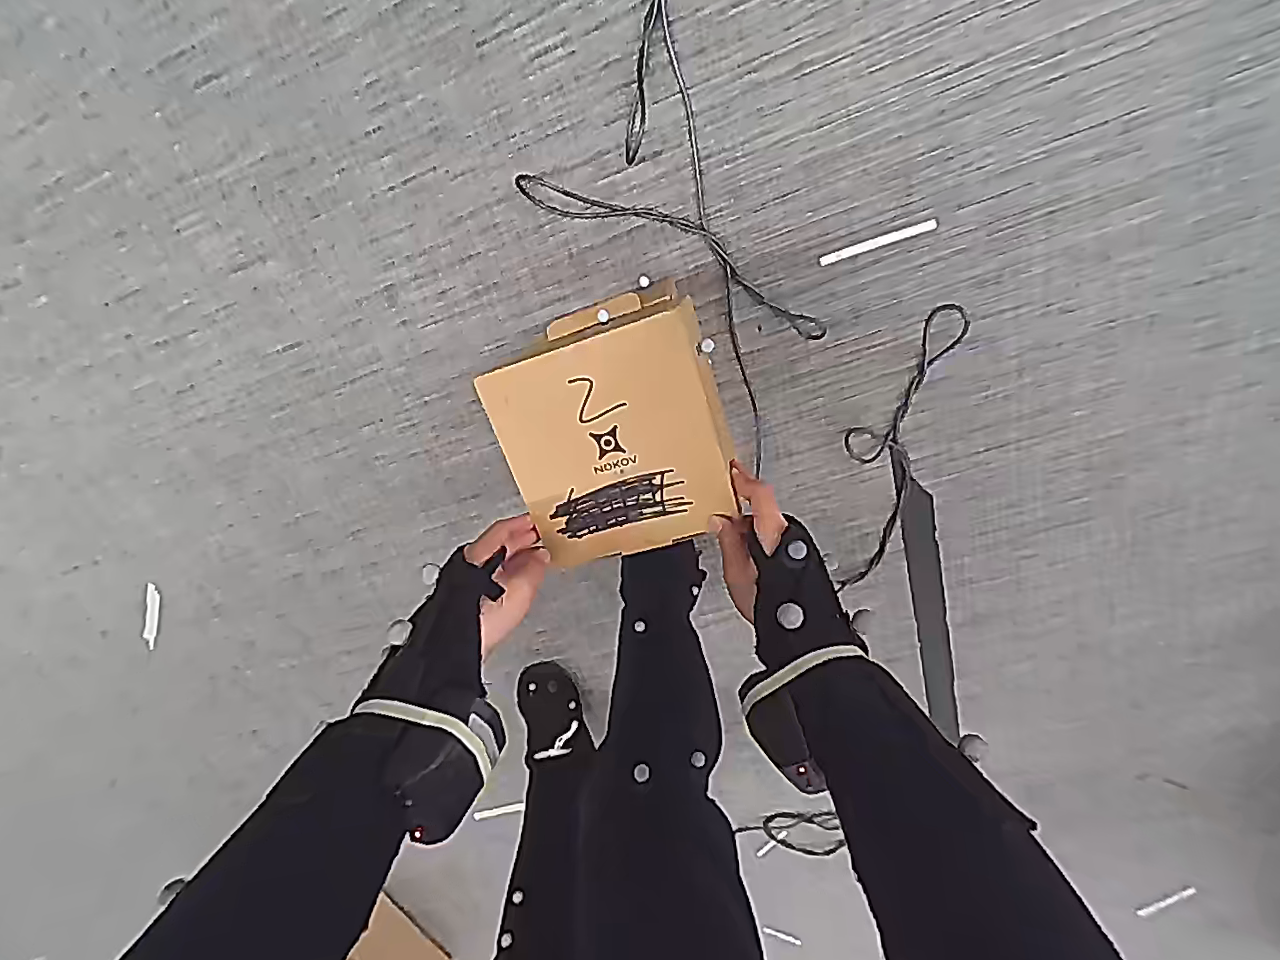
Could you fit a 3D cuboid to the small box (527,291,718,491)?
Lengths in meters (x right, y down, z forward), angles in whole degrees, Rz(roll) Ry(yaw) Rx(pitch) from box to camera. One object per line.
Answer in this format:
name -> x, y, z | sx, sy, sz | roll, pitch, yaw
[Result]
small box -> -0.014, -0.117, 0.656 | 0.168, 0.176, 0.179 | -17, 115, 12
